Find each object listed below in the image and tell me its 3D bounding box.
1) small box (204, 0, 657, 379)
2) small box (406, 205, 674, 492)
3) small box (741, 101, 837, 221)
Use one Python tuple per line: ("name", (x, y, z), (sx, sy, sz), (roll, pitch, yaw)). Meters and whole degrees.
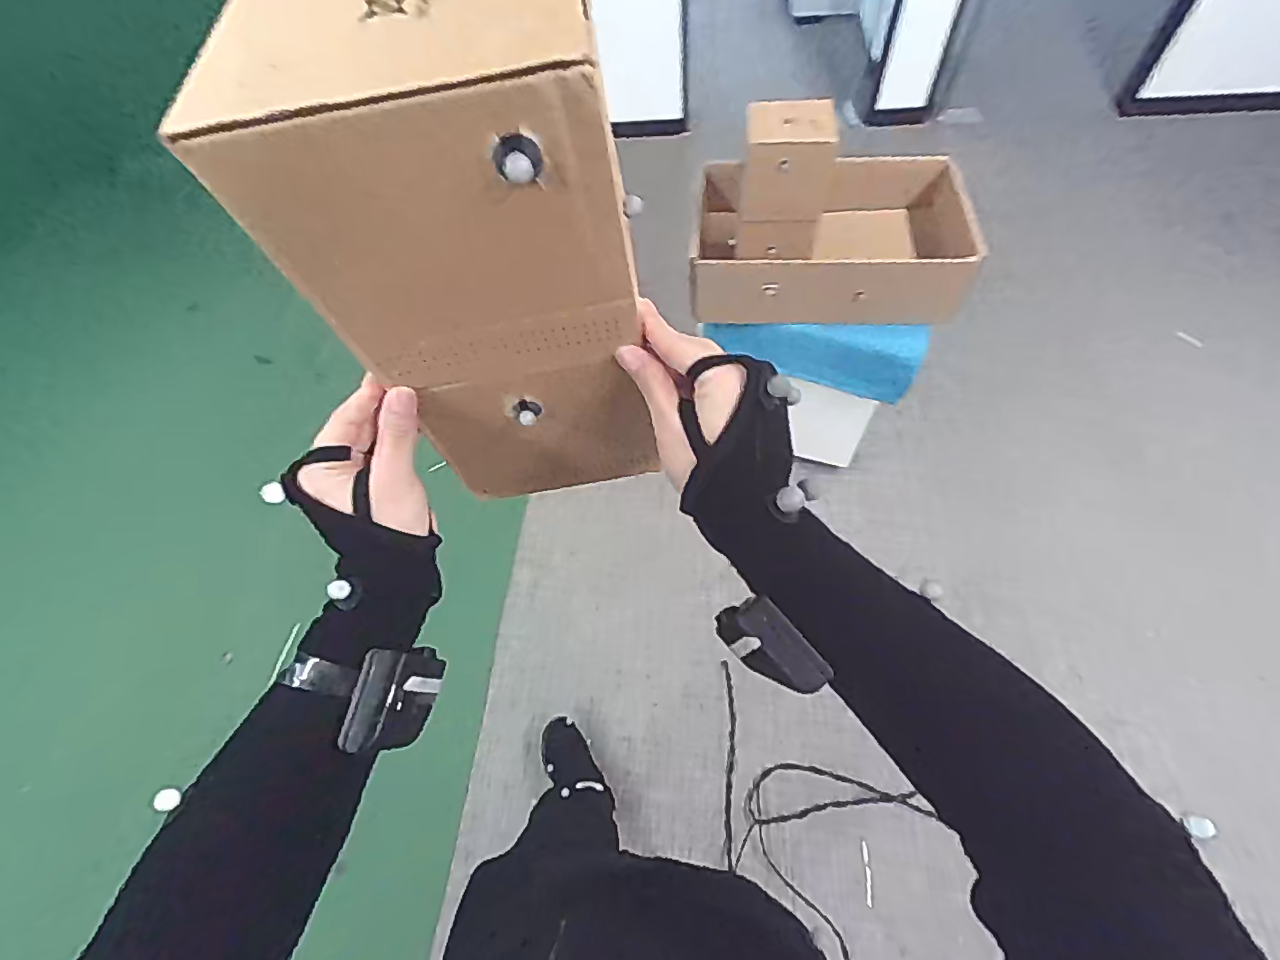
("small box", (-0.090, -0.178, 0.323), (0.179, 0.176, 0.168), (-8, 61, 3))
("small box", (-0.069, -0.102, 0.464), (0.179, 0.176, 0.168), (-7, 60, 2))
("small box", (0.310, -0.679, 1.161), (0.179, 0.176, 0.168), (3, 59, 6))
